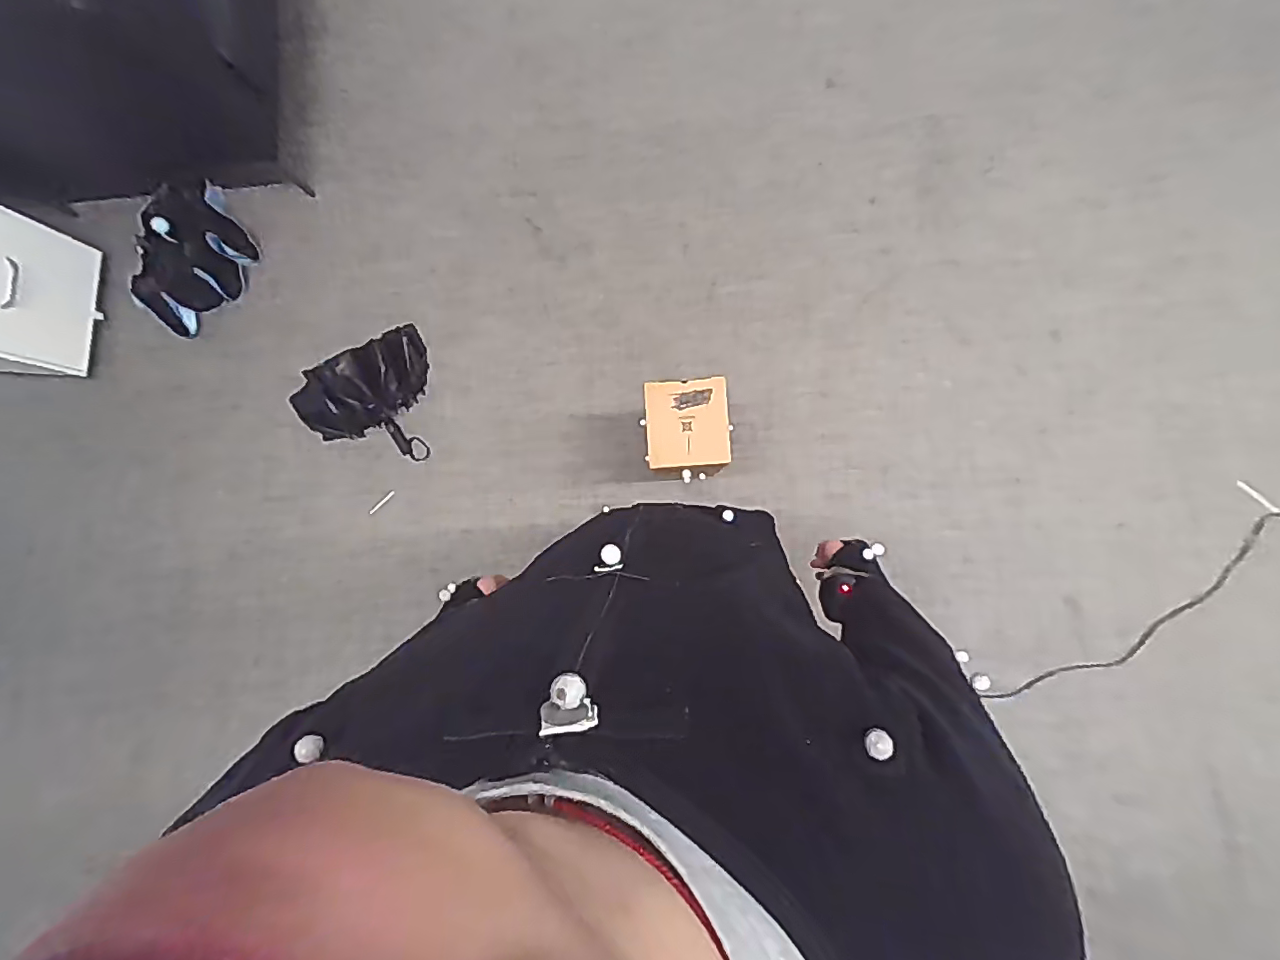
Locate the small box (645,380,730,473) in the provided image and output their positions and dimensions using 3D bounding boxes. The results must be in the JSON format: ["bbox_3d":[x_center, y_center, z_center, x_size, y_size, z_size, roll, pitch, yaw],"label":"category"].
[{"bbox_3d":[0.099,-0.107,1.158,0.168,0.176,0.179,-4,90,4],"label":"small box"}]
